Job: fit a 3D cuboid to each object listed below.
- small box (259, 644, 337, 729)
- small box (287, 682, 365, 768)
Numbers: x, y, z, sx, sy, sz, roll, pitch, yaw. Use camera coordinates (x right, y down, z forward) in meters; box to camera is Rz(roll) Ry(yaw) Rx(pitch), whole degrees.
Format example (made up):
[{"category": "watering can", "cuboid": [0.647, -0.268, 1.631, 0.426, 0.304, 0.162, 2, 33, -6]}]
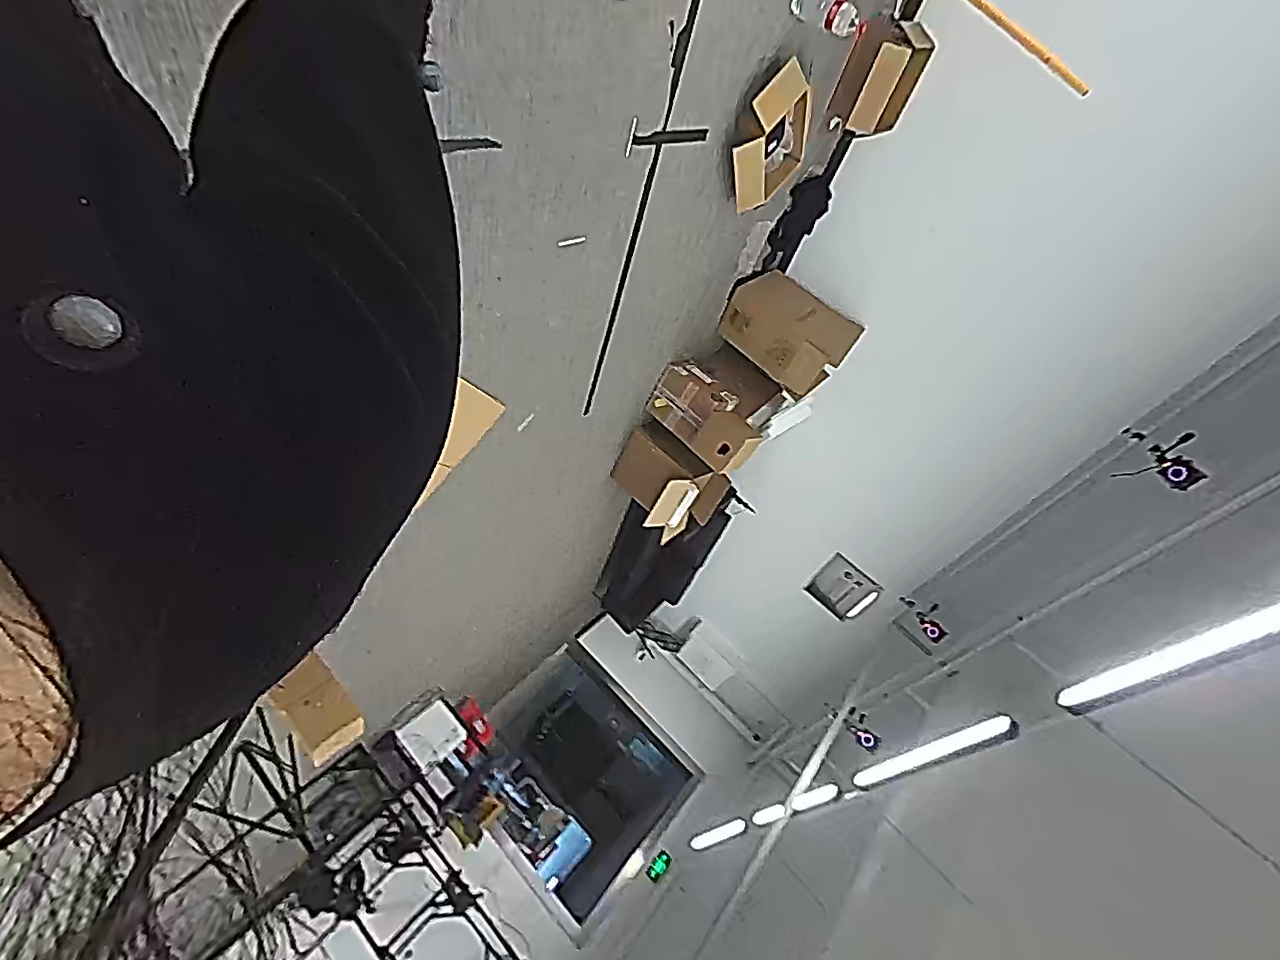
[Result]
[{"category": "small box", "cuboid": [-1.154, 0.694, 1.826, 0.179, 0.176, 0.168, -35, 160, -42]}, {"category": "small box", "cuboid": [-1.039, 0.807, 1.791, 0.168, 0.176, 0.179, -33, 158, -44]}]
